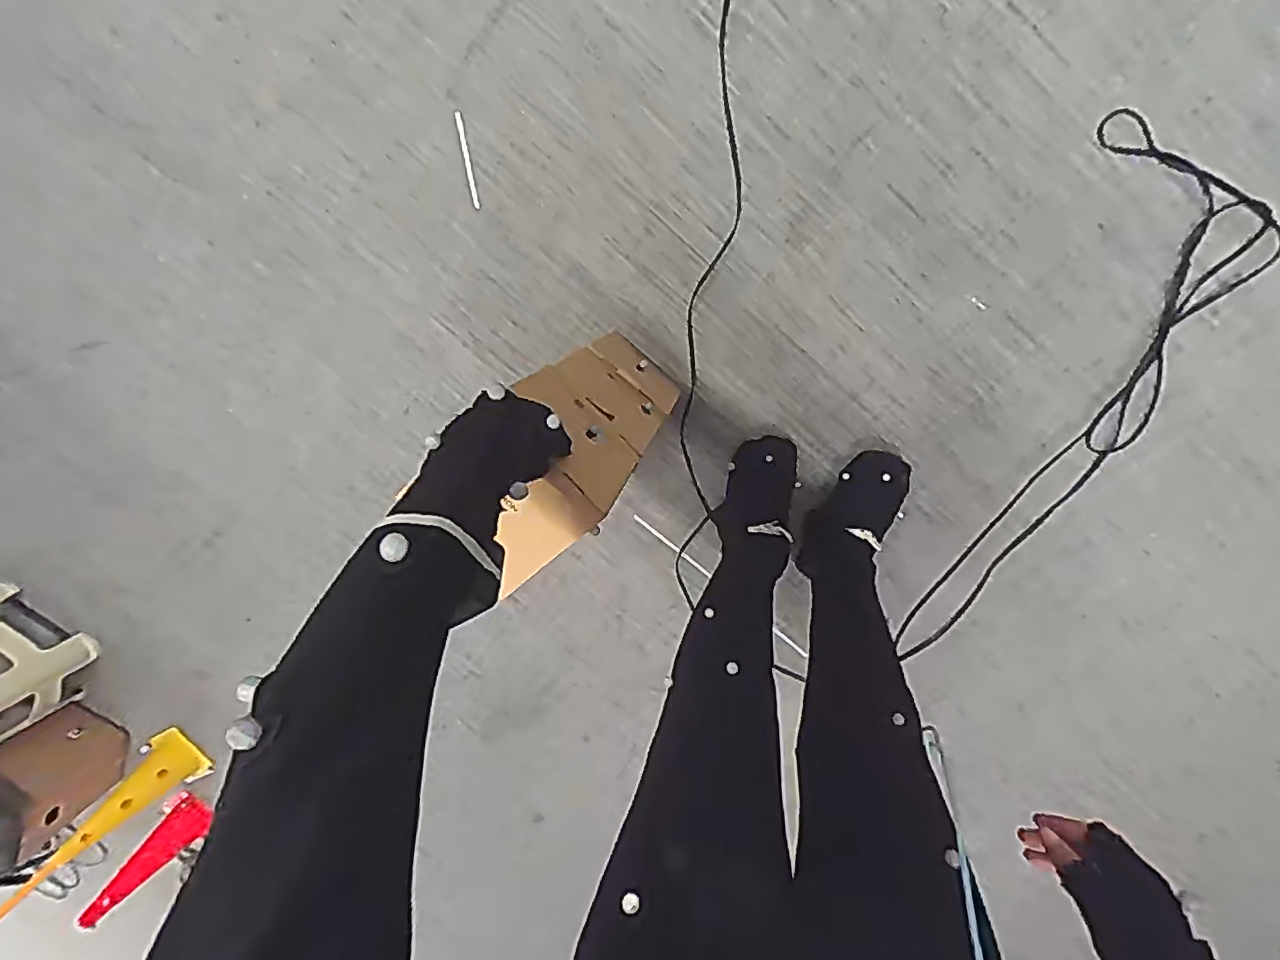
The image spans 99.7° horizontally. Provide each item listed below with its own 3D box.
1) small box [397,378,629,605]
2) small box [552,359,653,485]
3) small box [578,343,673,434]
[{"bbox_3d":[-0.136,0.006,0.638,0.179,0.176,0.168,-40,100,24],"label":"small box"},{"bbox_3d":[-0.098,-0.051,0.785,0.168,0.176,0.179,42,116,-7],"label":"small box"},{"bbox_3d":[-0.058,-0.117,0.934,0.168,0.176,0.179,40,114,-3],"label":"small box"}]
